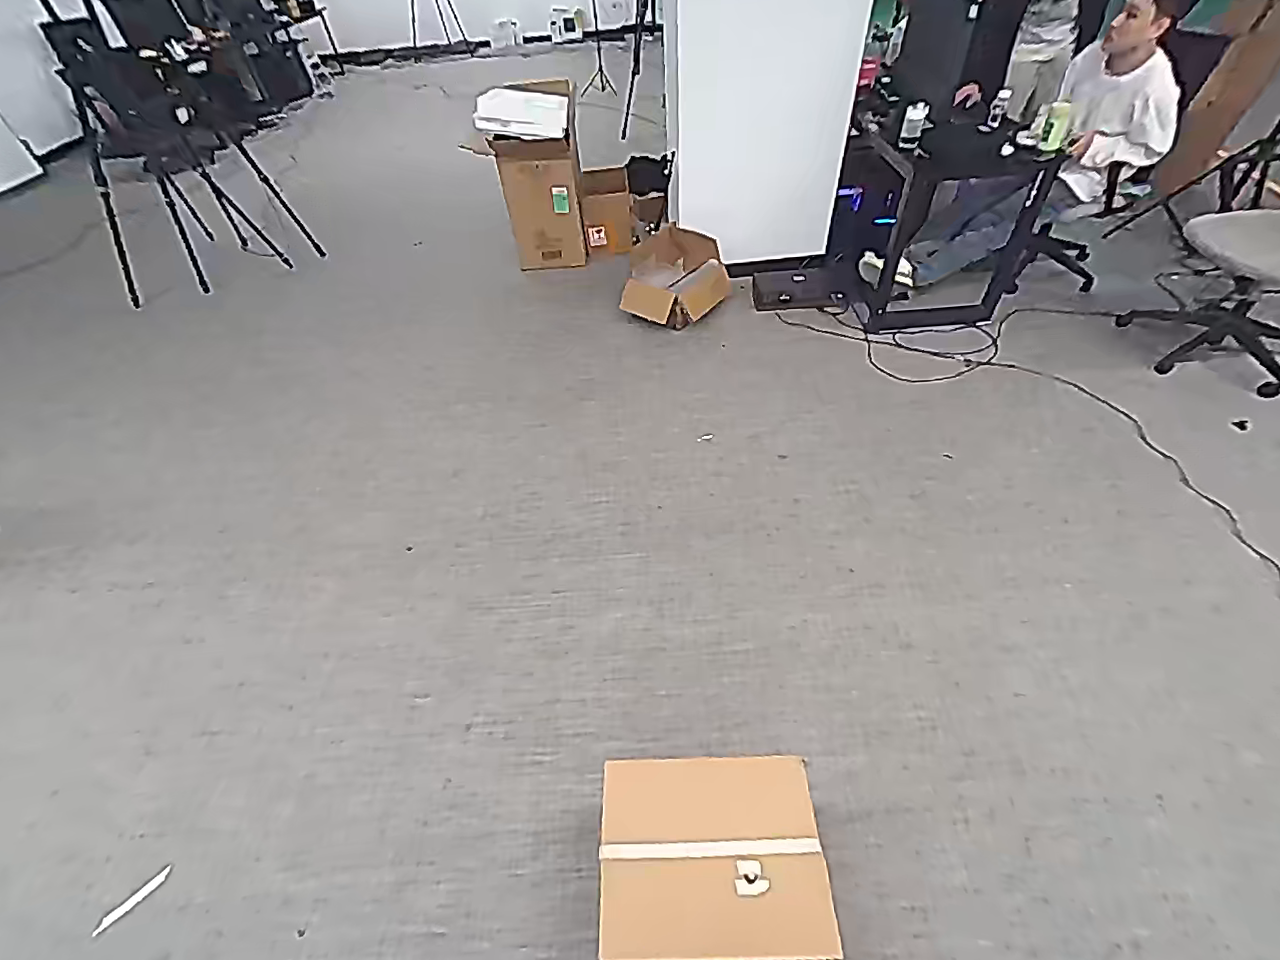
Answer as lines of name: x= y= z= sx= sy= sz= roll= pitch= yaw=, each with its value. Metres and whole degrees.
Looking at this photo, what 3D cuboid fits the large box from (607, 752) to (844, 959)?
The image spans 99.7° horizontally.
large box: x=0.143 y=0.776 z=1.102 sx=0.408 sy=0.320 sz=0.320 roll=-3 pitch=47 yaw=1
